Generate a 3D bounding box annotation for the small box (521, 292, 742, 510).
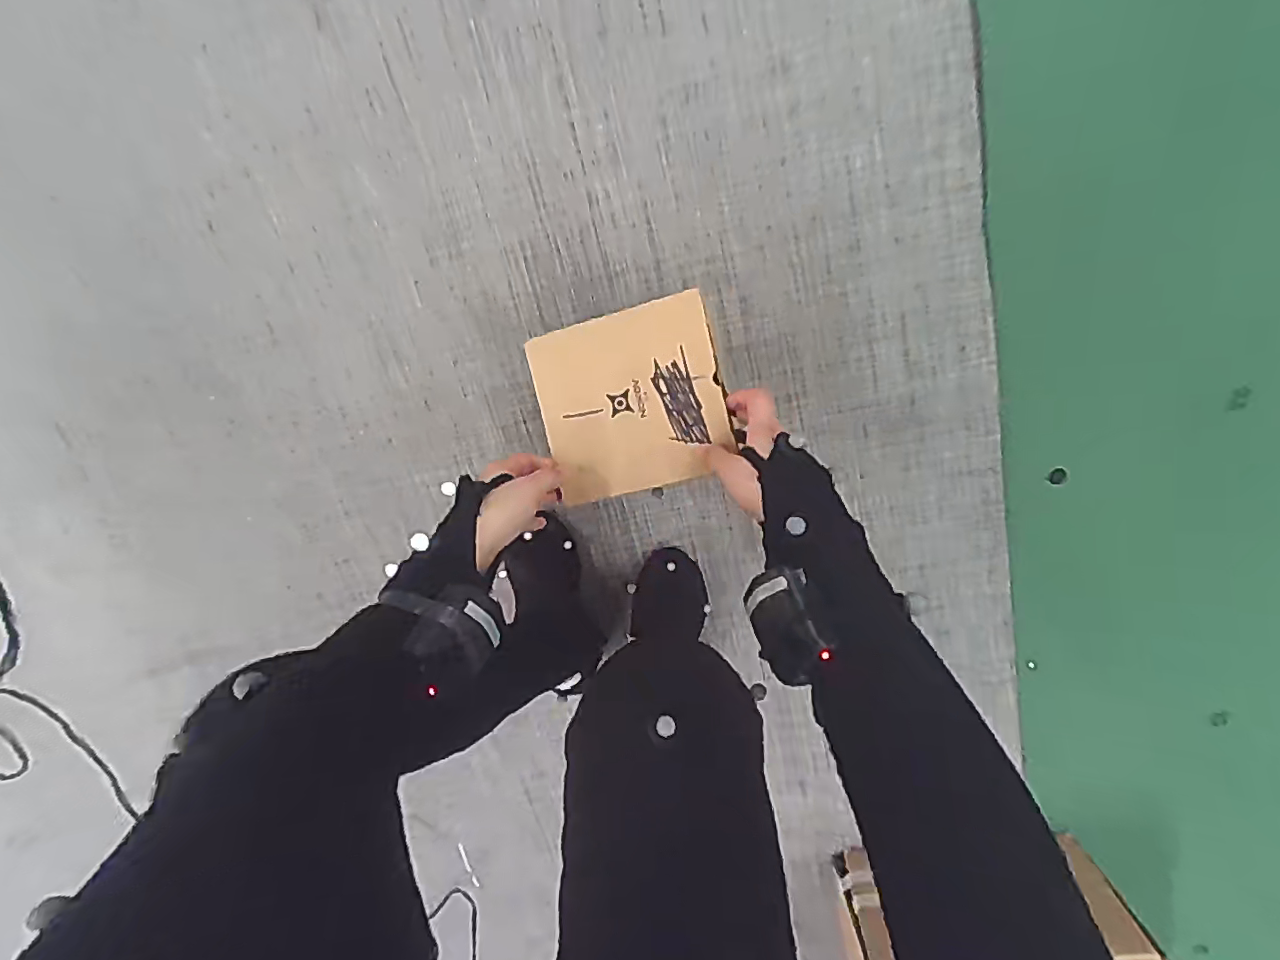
[{"bbox_3d":[0.004,-0.077,0.565,0.179,0.176,0.168,-13,93,13],"label":"small box"}]
